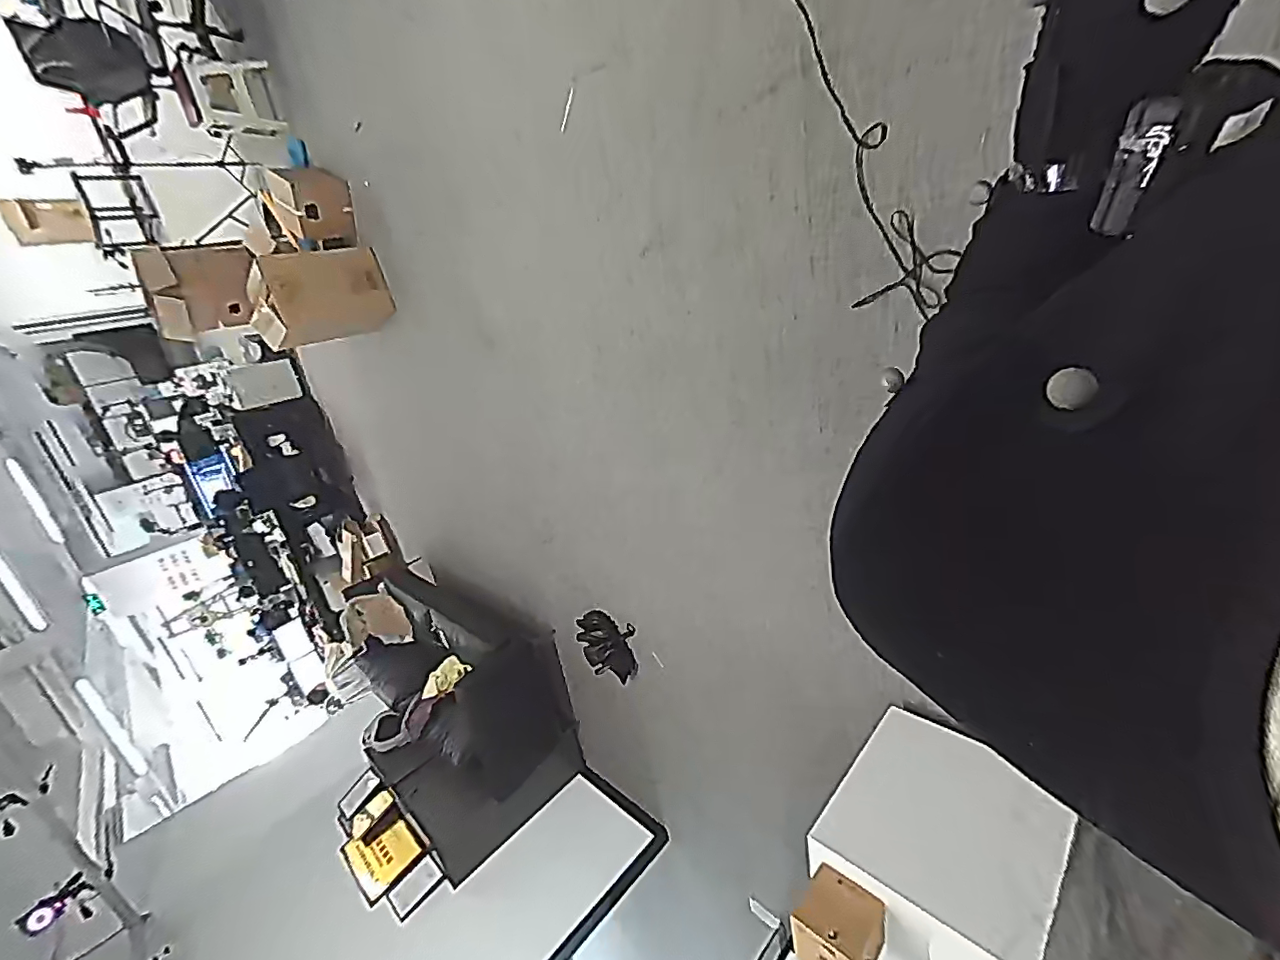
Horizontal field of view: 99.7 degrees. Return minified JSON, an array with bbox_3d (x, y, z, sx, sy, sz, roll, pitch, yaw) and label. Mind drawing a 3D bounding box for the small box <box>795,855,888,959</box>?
[{"bbox_3d":[0.513,1.112,1.365,0.168,0.176,0.179,11,121,44],"label":"small box"}]
